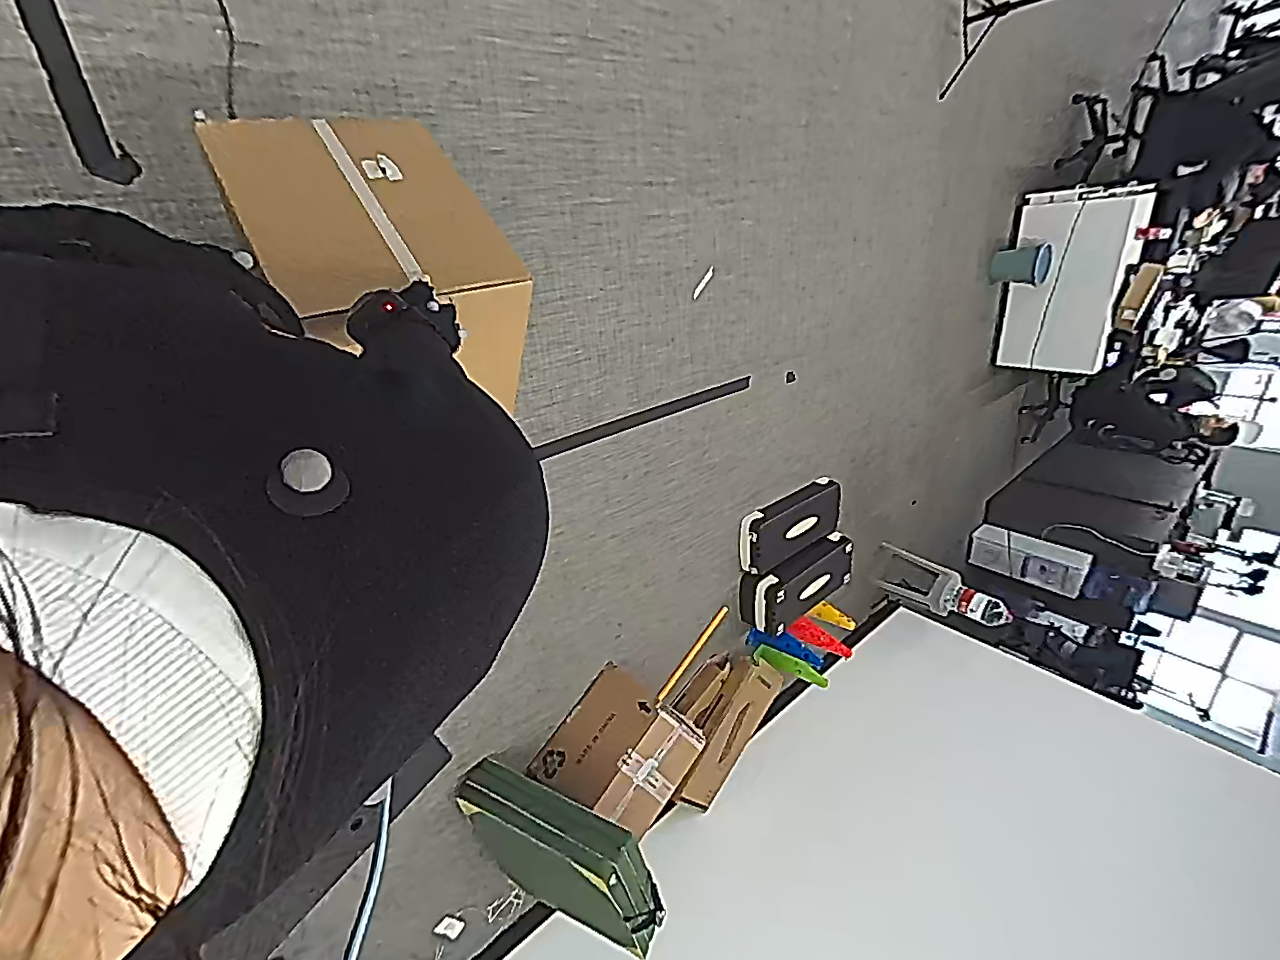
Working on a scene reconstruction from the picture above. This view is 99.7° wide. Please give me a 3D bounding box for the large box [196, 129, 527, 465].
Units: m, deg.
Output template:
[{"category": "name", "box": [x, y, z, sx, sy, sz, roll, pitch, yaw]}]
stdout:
[{"category": "large box", "box": [-0.431, -0.301, 0.886, 0.320, 0.408, 0.320, -24, 157, -32]}]
